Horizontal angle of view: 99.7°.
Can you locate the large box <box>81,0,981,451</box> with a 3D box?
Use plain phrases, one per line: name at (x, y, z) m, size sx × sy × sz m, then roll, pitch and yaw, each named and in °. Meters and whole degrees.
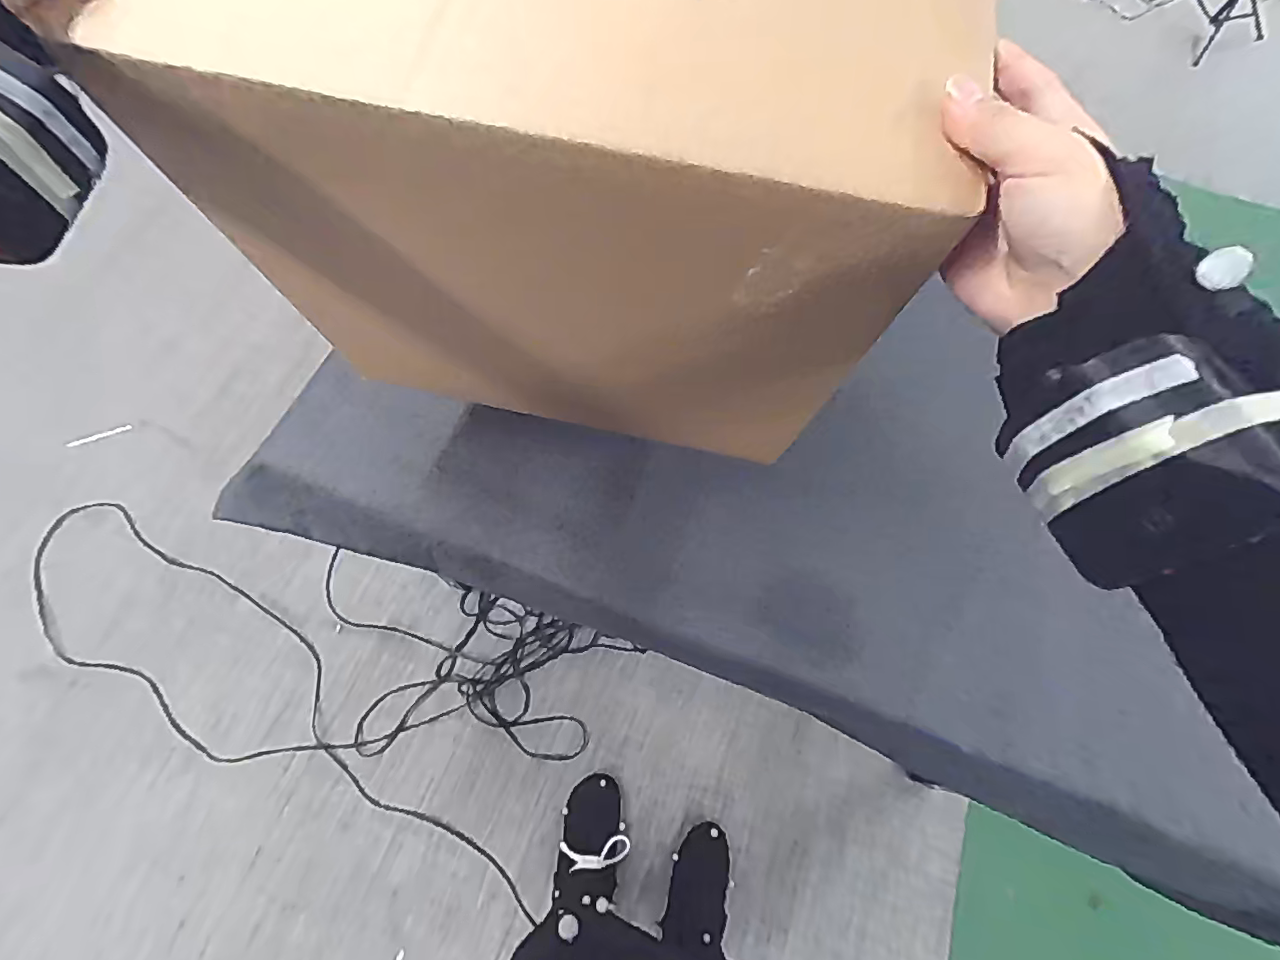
large box at (-0.031, -0.246, 0.419) m, size 0.408 × 0.320 × 0.320 m, roll 12°, pitch 74°, yaw 0°
